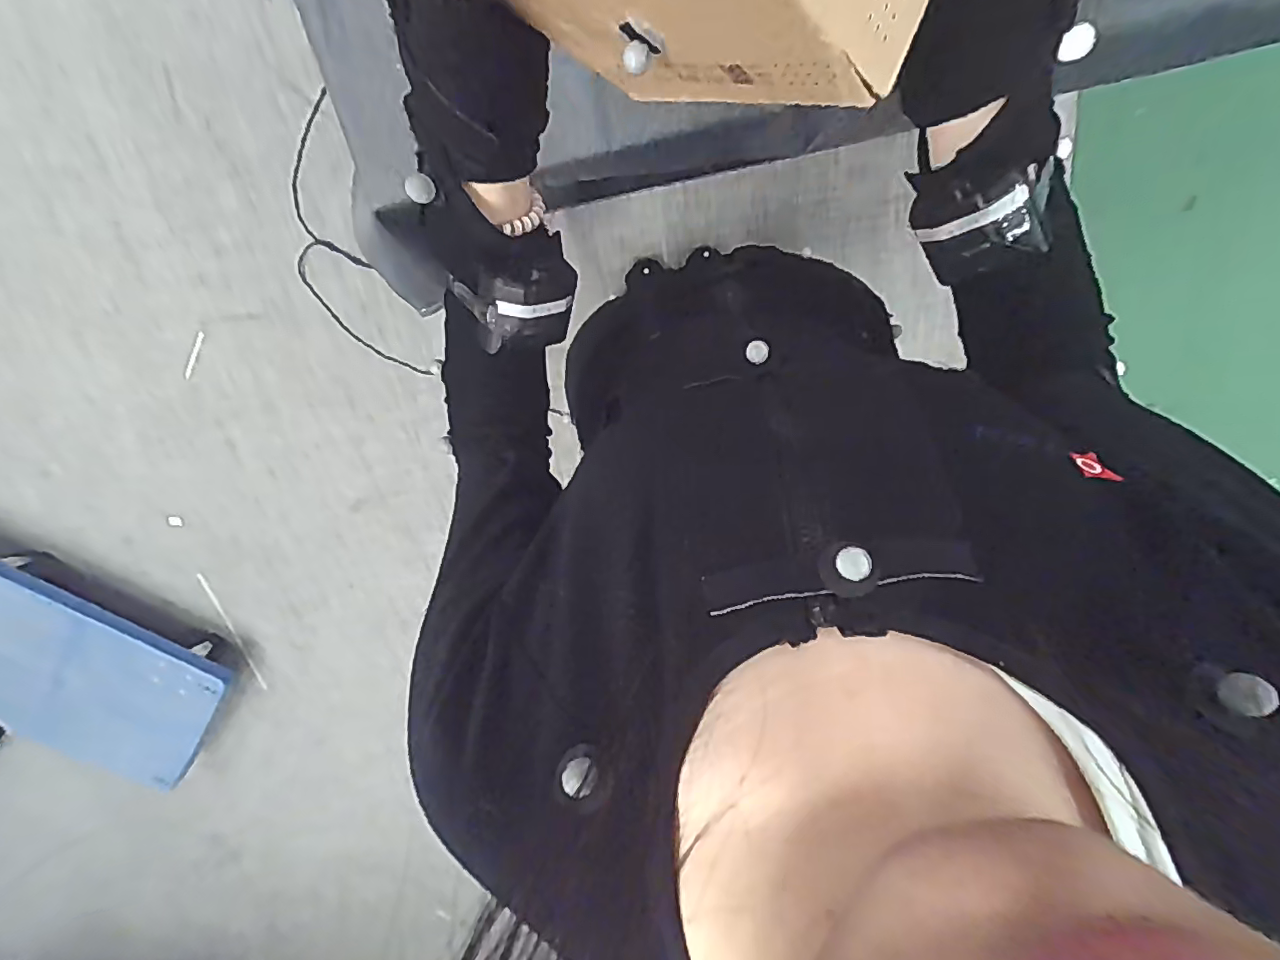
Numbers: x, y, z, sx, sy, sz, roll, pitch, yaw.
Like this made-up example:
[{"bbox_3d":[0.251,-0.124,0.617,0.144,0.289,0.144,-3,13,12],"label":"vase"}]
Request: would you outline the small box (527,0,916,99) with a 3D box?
[{"bbox_3d":[0.017,-0.269,0.185,0.176,0.168,0.179,-2,119,-44],"label":"small box"}]
